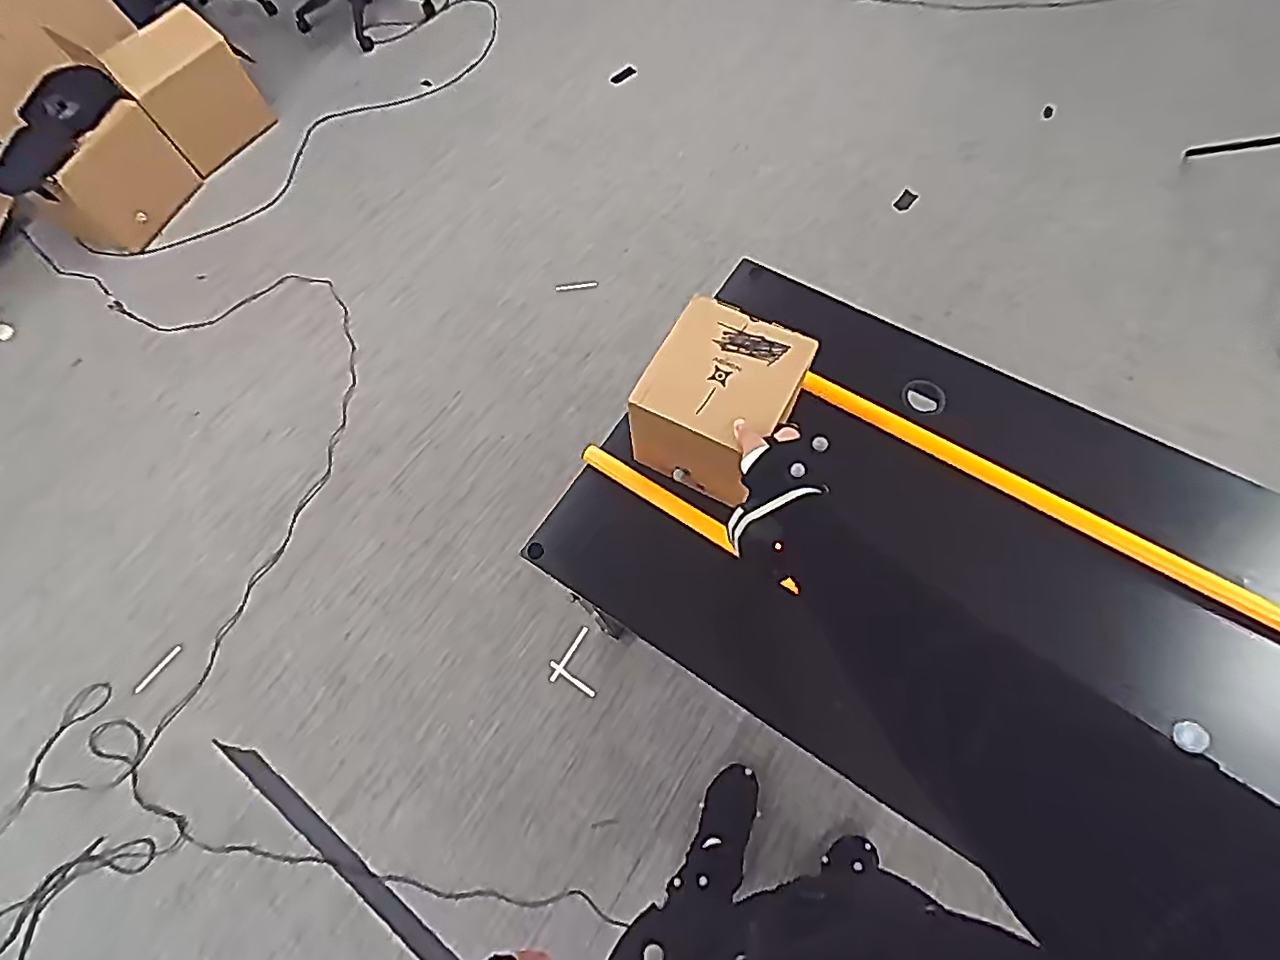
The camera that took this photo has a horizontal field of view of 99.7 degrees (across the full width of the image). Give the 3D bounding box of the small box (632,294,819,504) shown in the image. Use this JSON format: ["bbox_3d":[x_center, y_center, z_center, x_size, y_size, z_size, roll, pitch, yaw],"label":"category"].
[{"bbox_3d":[0.104,-0.097,0.702,0.168,0.176,0.179,26,72,14],"label":"small box"}]
